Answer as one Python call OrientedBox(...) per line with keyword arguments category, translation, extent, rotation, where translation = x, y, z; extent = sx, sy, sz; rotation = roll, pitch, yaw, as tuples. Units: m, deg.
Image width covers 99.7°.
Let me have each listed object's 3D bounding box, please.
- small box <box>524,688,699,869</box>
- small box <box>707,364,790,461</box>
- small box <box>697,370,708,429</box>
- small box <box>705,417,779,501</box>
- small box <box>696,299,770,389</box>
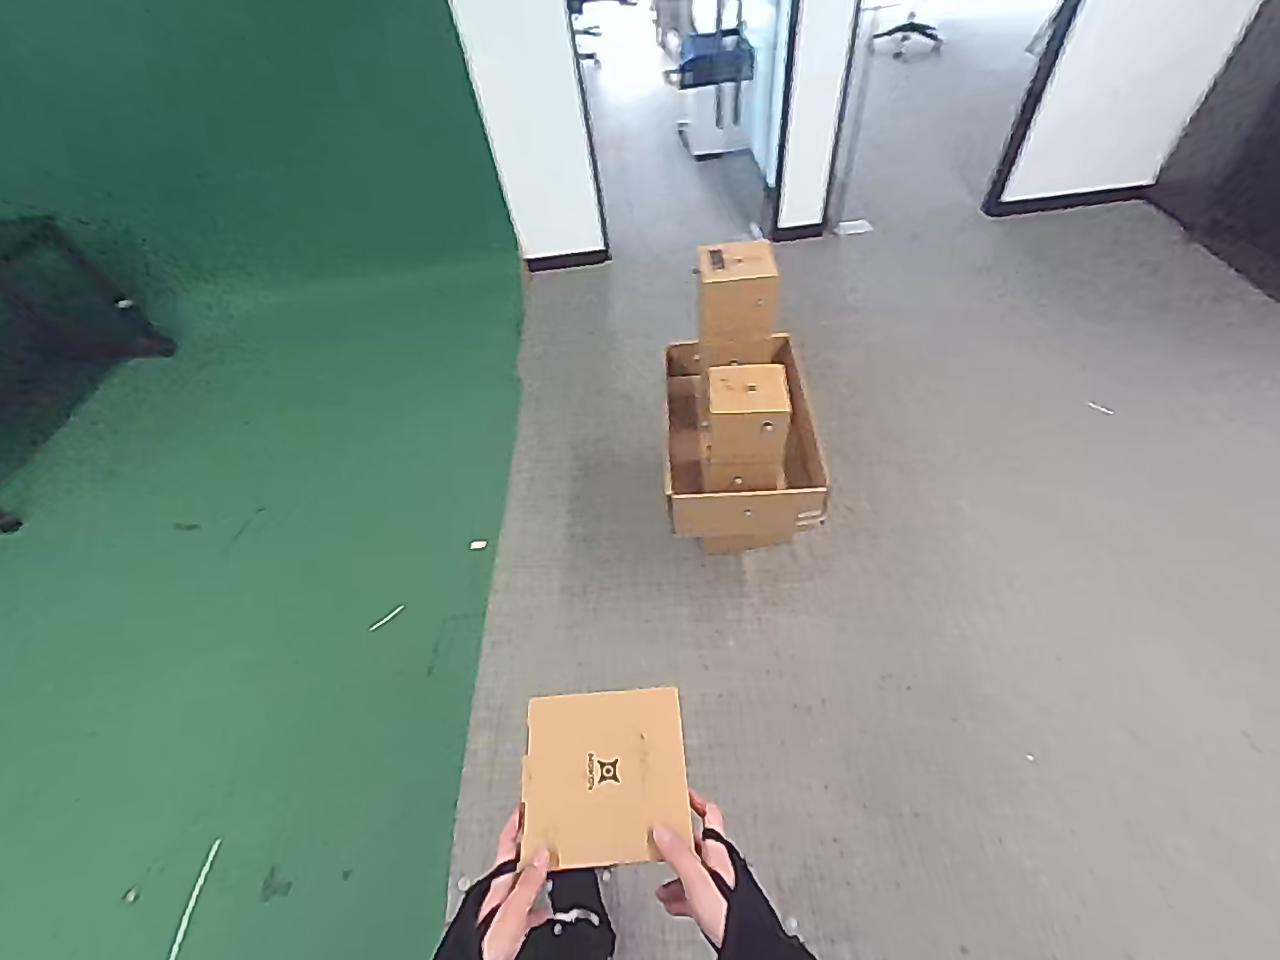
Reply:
OrientedBox(category="small box", translation=(-0.027, 0.356, 0.639), extent=(0.179, 0.176, 0.168), rotation=(-3, 55, 0))
OrientedBox(category="small box", translation=(0.251, -0.158, 1.295), extent=(0.179, 0.176, 0.168), rotation=(-1, 50, 6))
OrientedBox(category="small box", translation=(0.261, -0.267, 1.597), extent=(0.179, 0.176, 0.168), rotation=(-3, 52, 5))
OrientedBox(category="small box", translation=(0.263, -0.057, 1.426), extent=(0.179, 0.176, 0.168), rotation=(-2, 51, 6))
OrientedBox(category="small box", translation=(0.245, -0.366, 1.467), extent=(0.179, 0.176, 0.168), rotation=(-5, 52, 4))
